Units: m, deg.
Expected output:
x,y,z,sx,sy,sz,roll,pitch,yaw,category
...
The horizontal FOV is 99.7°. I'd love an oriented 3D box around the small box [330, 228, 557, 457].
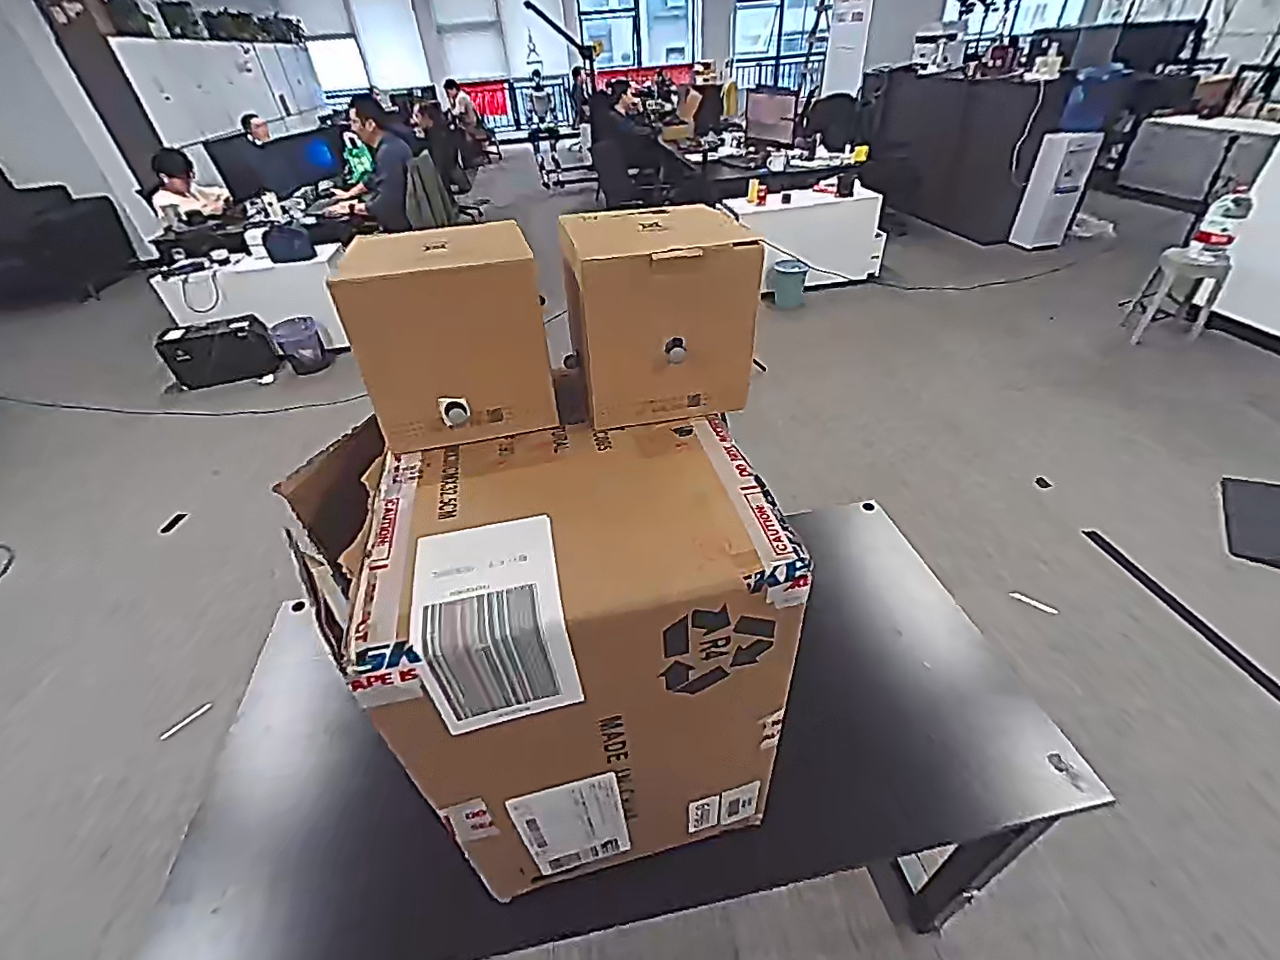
x,y,z,sx,sy,sz,roll,pitch,yaw,category
-0.189,-0.147,0.558,0.168,0.176,0.179,-13,38,-11,small box
